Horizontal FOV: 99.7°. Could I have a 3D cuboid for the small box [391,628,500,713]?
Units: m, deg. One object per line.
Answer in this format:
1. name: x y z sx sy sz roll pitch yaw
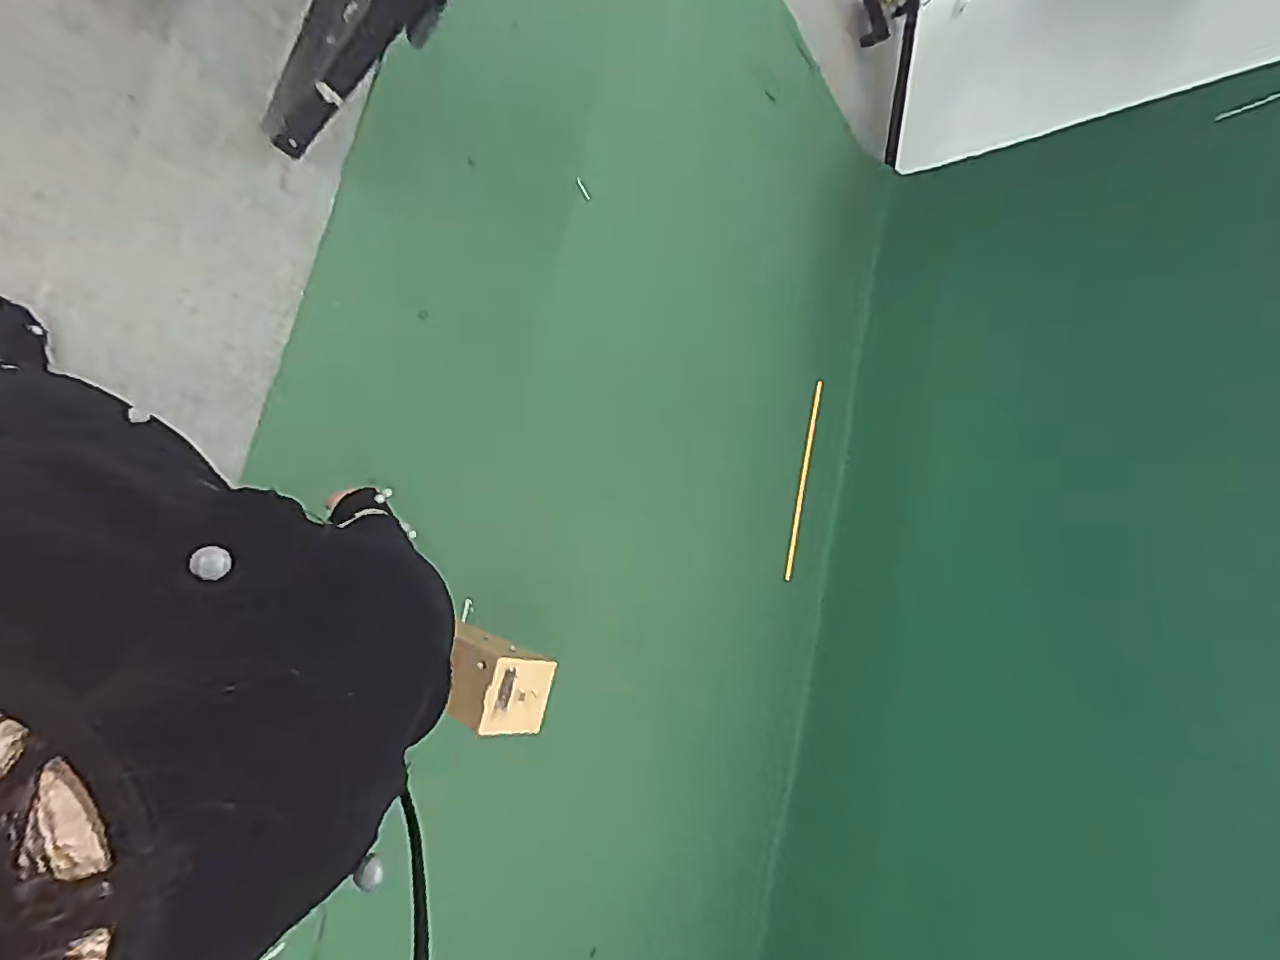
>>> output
1. small box: -0.499 0.485 1.386 0.179 0.176 0.168 27 72 -46
